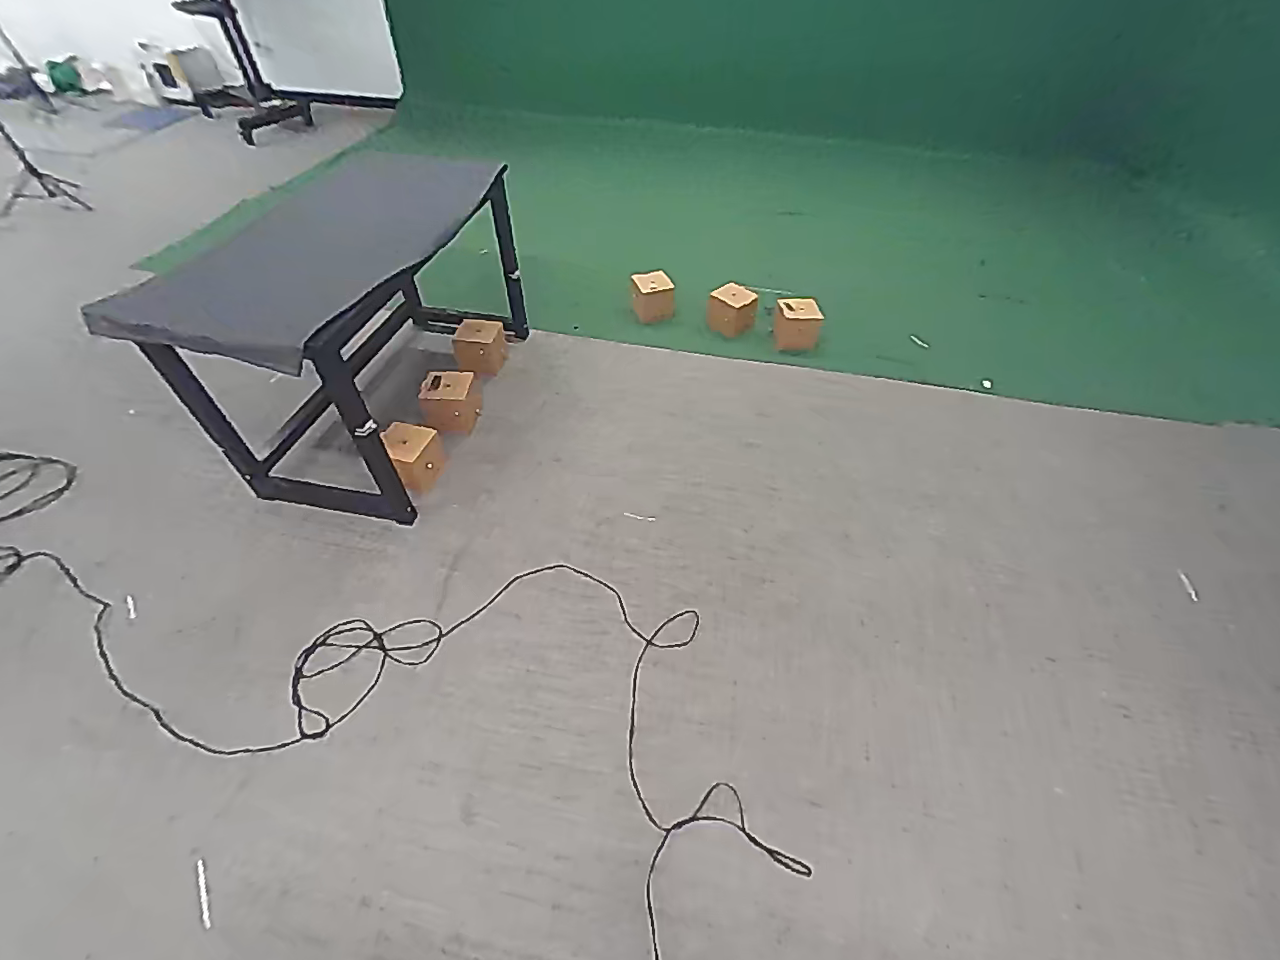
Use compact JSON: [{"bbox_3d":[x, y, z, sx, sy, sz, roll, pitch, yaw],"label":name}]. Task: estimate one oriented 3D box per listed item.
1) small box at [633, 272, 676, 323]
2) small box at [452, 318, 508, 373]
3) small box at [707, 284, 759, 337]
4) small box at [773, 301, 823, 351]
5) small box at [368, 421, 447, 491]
[{"bbox_3d":[0.064,-0.899,2.663,0.168,0.176,0.179,-15,50,-14],"label":"small box"},{"bbox_3d":[-0.690,-0.583,2.357,0.179,0.176,0.168,6,48,4],"label":"small box"},{"bbox_3d":[0.443,-0.805,2.590,0.168,0.176,0.179,-34,57,-28],"label":"small box"},{"bbox_3d":[0.727,-0.714,2.517,0.179,0.176,0.168,-1,49,-4],"label":"small box"},{"bbox_3d":[-0.814,-0.081,1.915,0.179,0.176,0.168,13,50,10],"label":"small box"}]
